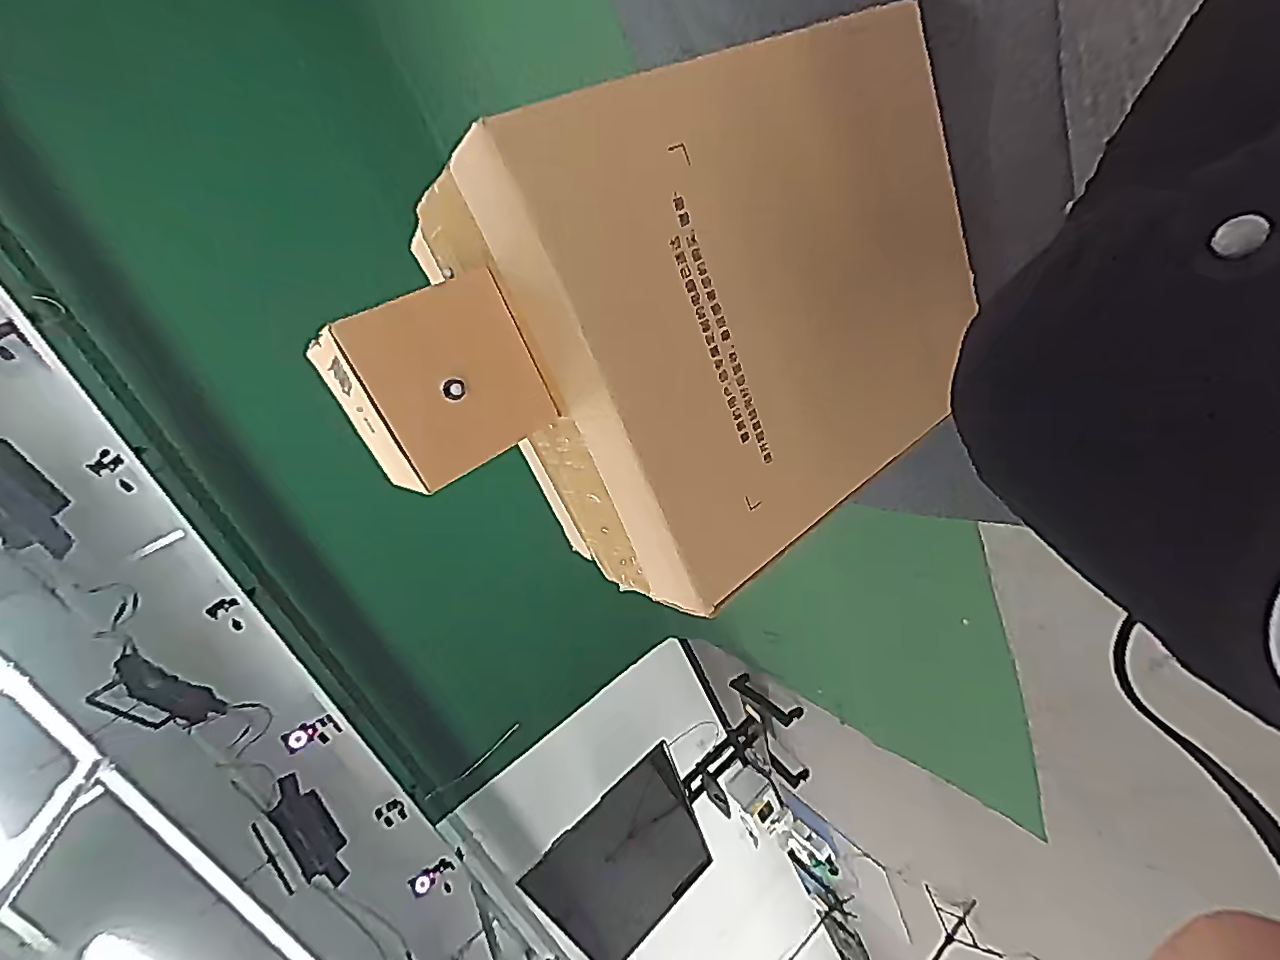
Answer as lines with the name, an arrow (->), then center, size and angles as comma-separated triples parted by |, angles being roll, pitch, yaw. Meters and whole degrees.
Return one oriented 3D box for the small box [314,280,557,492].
small box -> -0.226, -0.108, 0.610 | 0.168, 0.176, 0.179 | 7, 127, 53
